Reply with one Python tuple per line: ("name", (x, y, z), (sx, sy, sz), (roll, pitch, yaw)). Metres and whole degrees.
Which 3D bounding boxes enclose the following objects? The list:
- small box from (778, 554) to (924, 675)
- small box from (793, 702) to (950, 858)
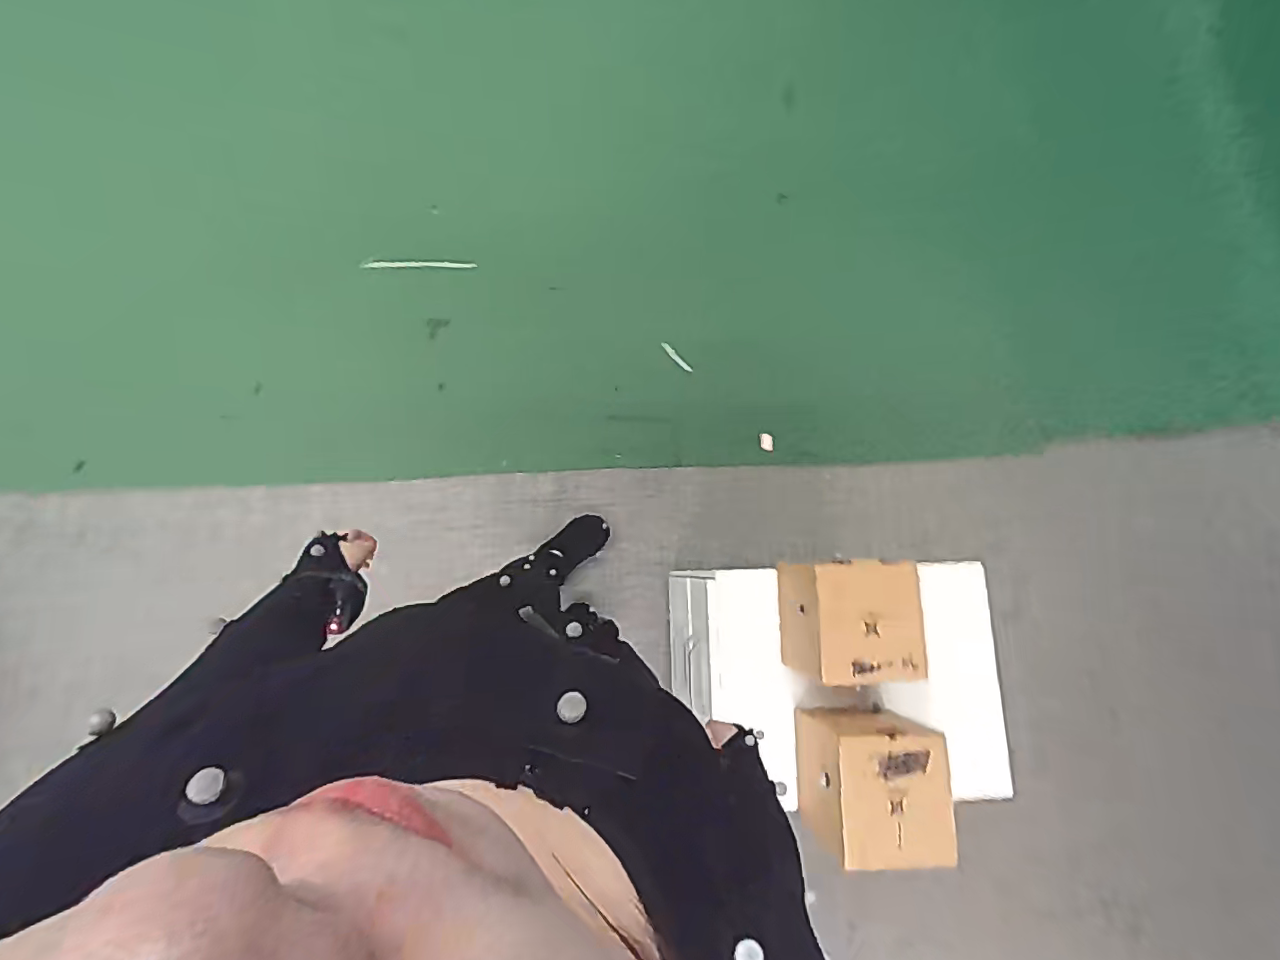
("small box", (0.332, 0.212, 0.884), (0.168, 0.176, 0.179), (0, 81, -5))
("small box", (0.349, 0.453, 0.846), (0.168, 0.176, 0.179), (2, 80, -6))
